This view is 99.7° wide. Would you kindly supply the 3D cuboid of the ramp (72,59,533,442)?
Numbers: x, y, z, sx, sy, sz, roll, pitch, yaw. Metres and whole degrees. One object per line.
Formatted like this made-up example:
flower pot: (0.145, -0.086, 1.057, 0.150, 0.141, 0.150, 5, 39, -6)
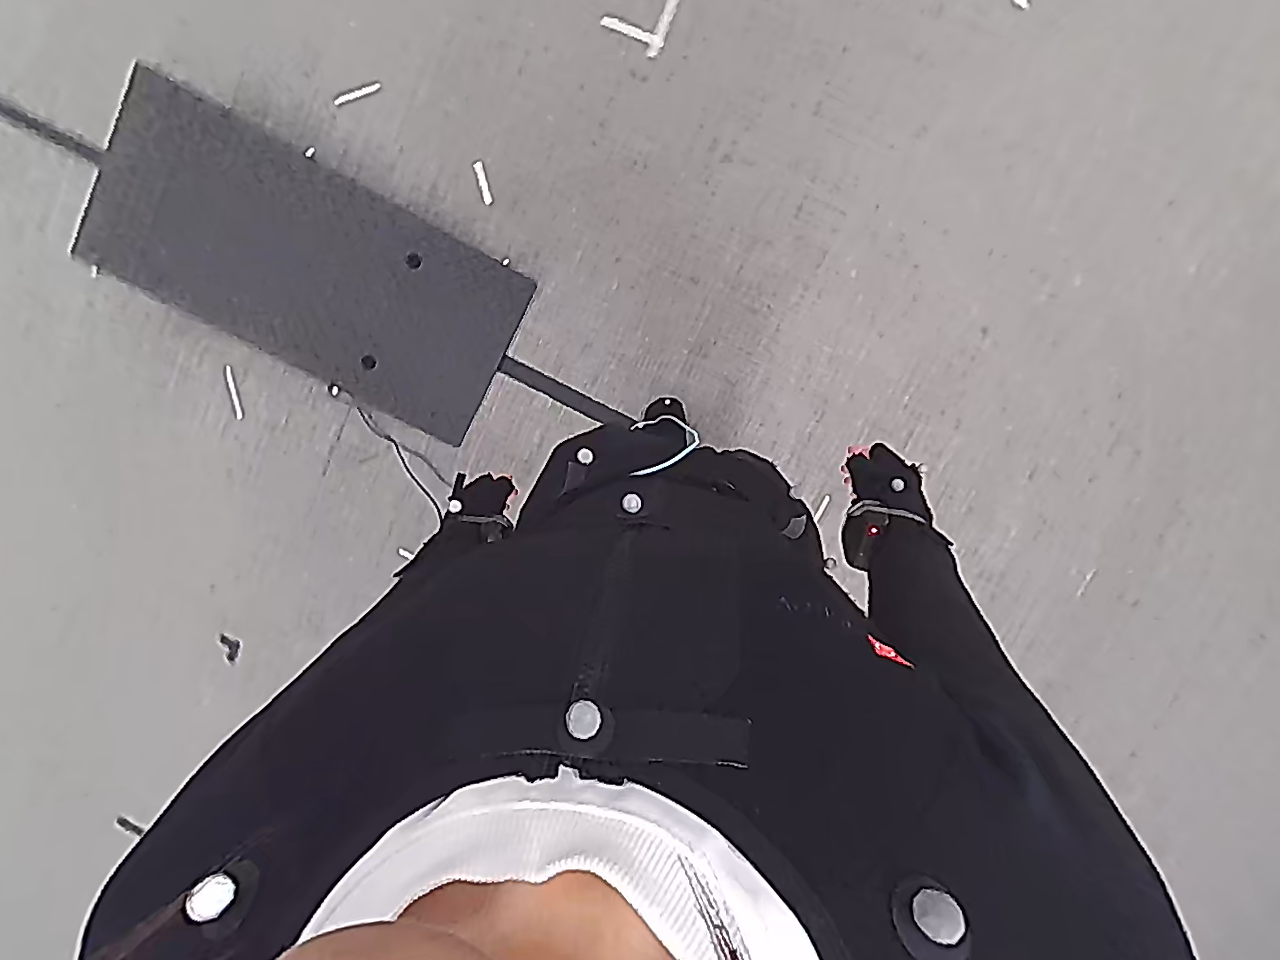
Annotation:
ramp: (-0.818, -0.534, 1.353, 0.991, 0.206, 0.509, 27, 98, 1)
